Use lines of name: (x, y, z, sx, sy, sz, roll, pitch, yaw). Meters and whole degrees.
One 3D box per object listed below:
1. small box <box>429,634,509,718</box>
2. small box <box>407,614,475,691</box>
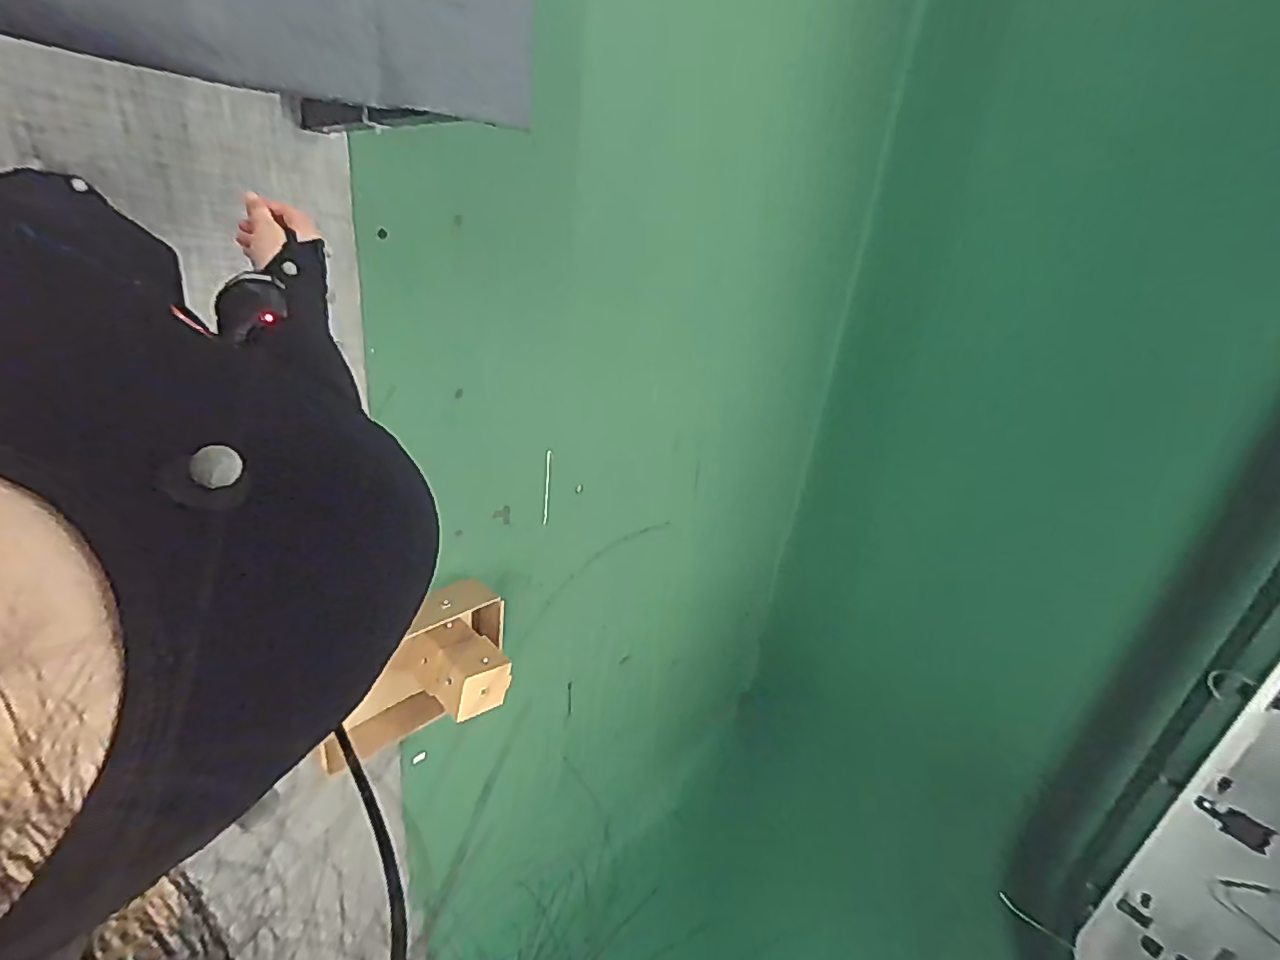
small box: (-0.561, 0.629, 1.760, 0.179, 0.176, 0.168, -4, 114, -50)
small box: (-0.680, 0.589, 1.865, 0.168, 0.176, 0.179, 4, 108, -52)
